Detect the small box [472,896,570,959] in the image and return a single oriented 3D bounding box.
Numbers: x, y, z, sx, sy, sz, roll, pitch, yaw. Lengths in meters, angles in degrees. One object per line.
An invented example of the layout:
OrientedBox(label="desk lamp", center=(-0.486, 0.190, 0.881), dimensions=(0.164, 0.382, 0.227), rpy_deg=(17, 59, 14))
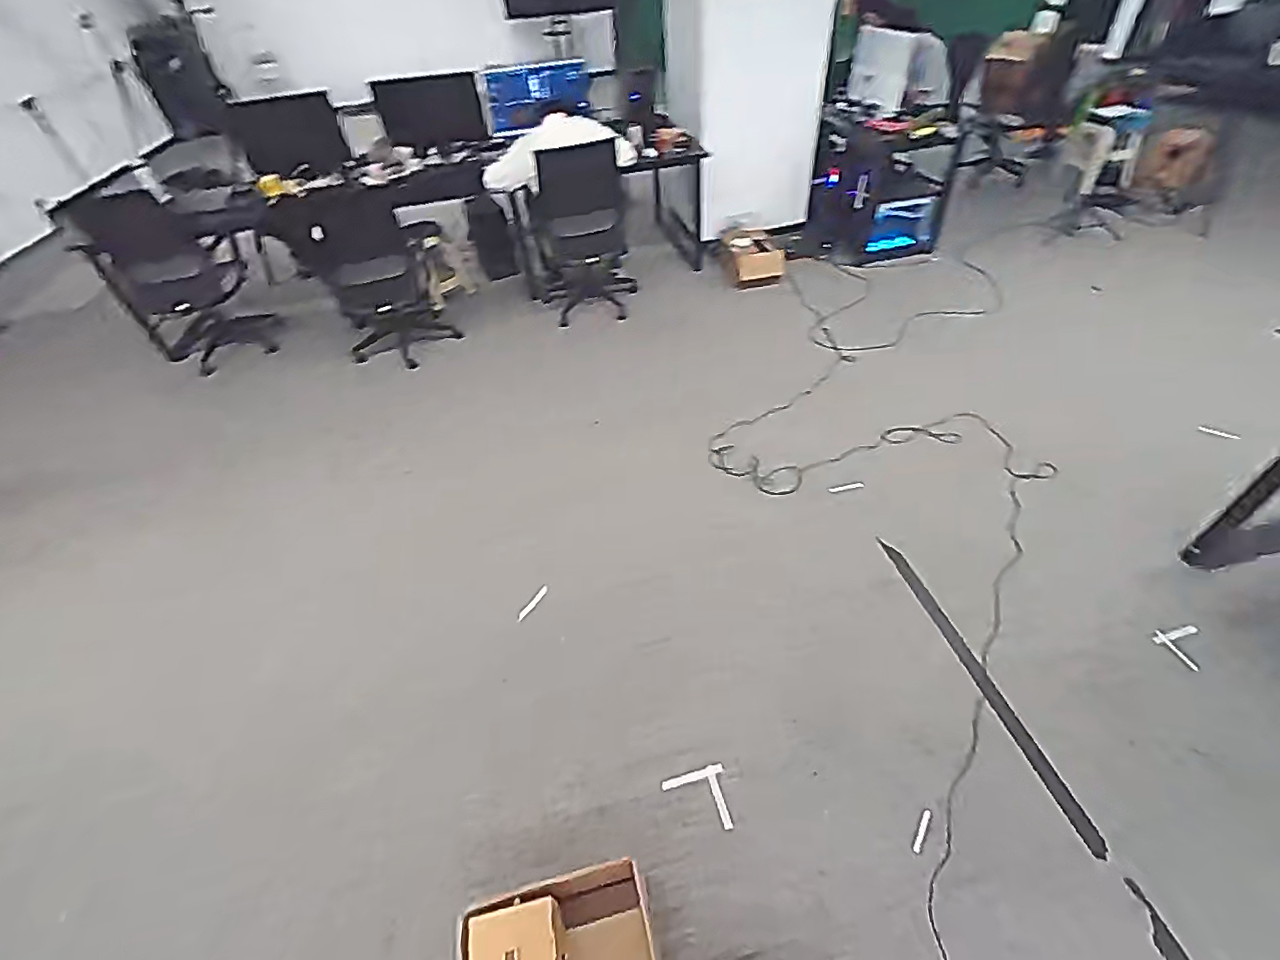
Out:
OrientedBox(label="small box", center=(-0.248, 1.022, 1.149), dimensions=(0.179, 0.176, 0.168), rpy_deg=(-11, 45, -8))
